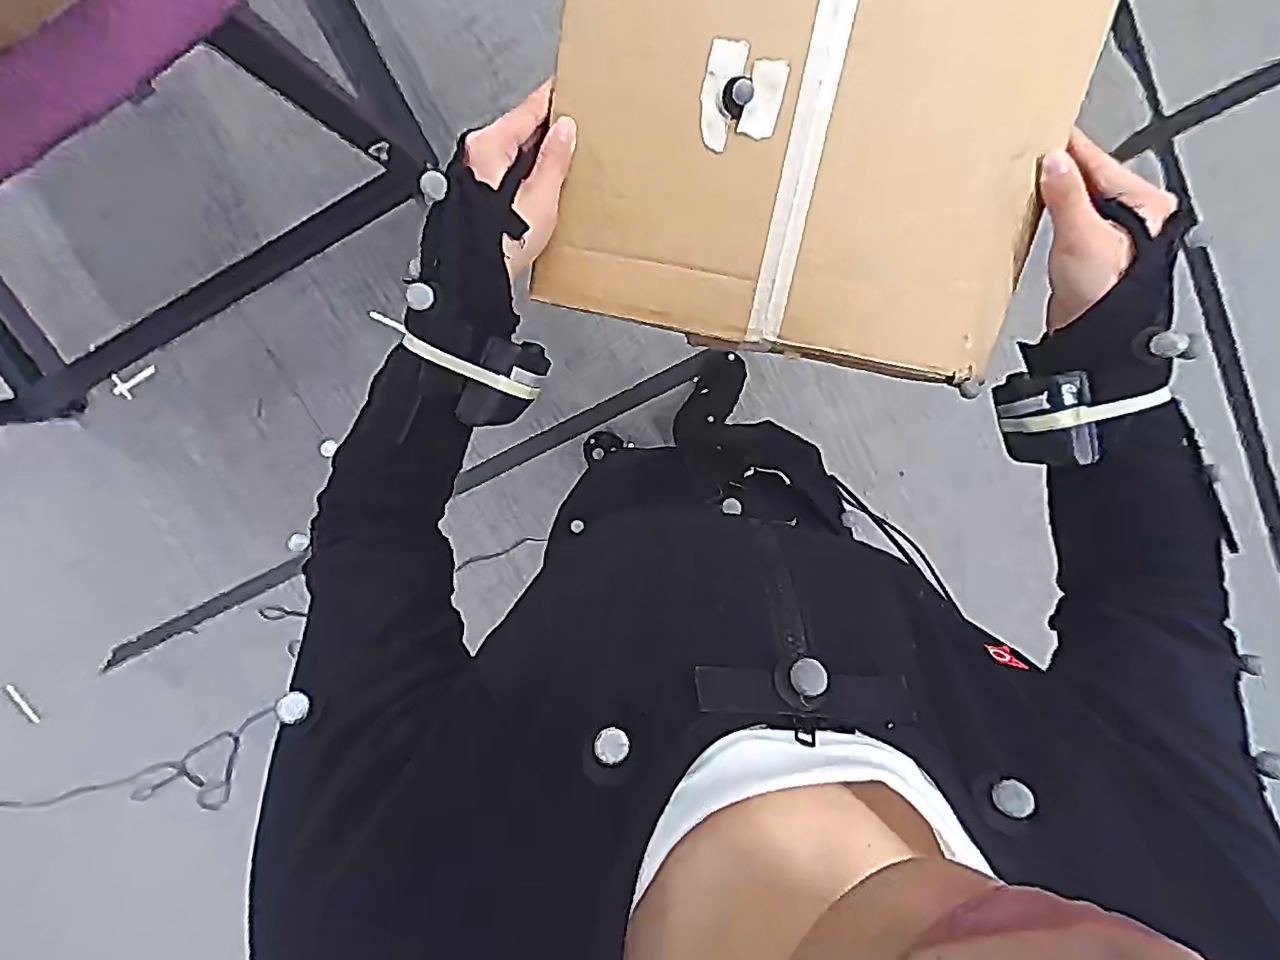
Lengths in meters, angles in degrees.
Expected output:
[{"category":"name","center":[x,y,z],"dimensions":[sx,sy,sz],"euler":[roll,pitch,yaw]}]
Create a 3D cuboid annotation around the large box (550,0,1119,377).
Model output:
[{"category":"large box","center":[0.122,-0.323,0.449],"dimensions":[0.320,0.320,0.408],"euler":[10,107,-1]}]
